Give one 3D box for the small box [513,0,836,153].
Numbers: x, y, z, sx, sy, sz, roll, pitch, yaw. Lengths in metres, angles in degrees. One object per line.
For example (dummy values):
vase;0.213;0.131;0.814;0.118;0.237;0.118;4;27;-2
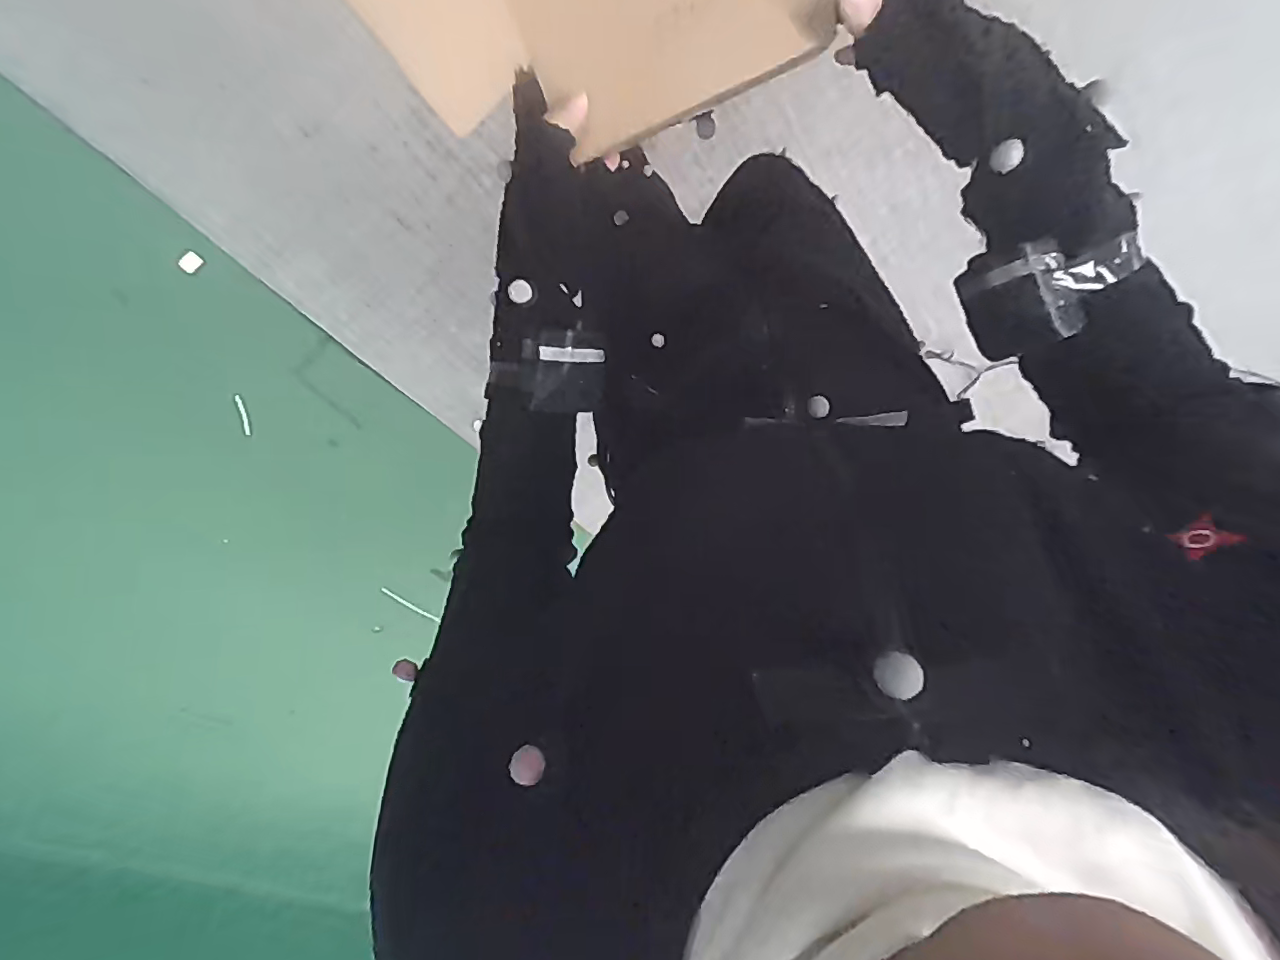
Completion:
small box;0.017;-0.338;0.344;0.168;0.176;0.179;-13;119;23
